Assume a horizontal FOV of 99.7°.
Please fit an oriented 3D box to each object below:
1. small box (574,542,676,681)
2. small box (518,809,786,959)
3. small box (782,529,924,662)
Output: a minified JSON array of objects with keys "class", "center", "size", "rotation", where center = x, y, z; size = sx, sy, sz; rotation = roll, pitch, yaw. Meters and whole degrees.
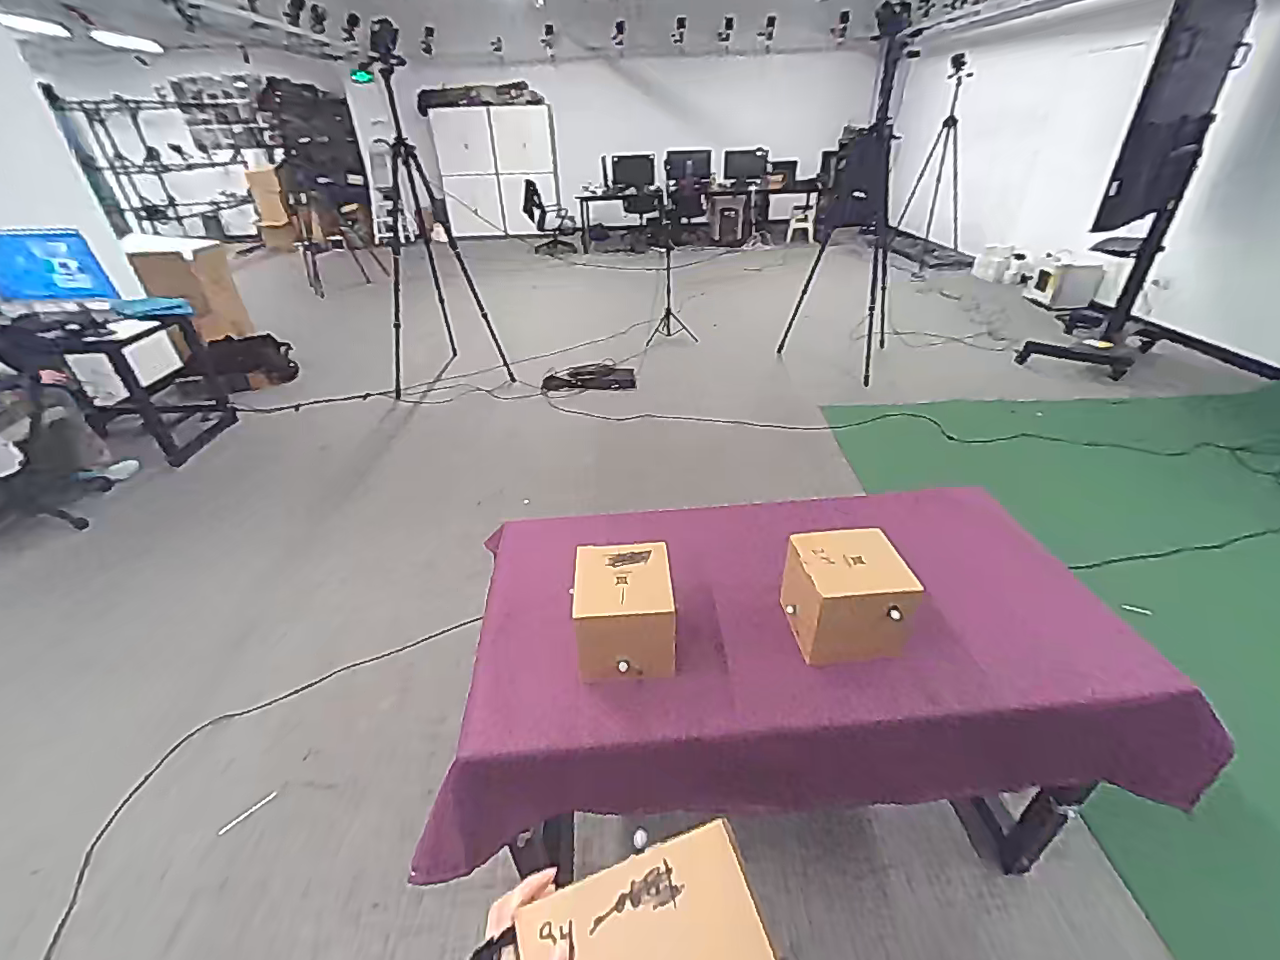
[{"class":"small box","center":[-0.025,0.233,0.971],"size":[0.168,0.176,0.179],"rotation":[-3,34,-1]},{"class":"small box","center":[0.027,0.382,0.422],"size":[0.168,0.176,0.179],"rotation":[-22,59,-4]},{"class":"small box","center":[0.373,0.208,0.983],"size":[0.179,0.176,0.168],"rotation":[-4,33,-2]}]
